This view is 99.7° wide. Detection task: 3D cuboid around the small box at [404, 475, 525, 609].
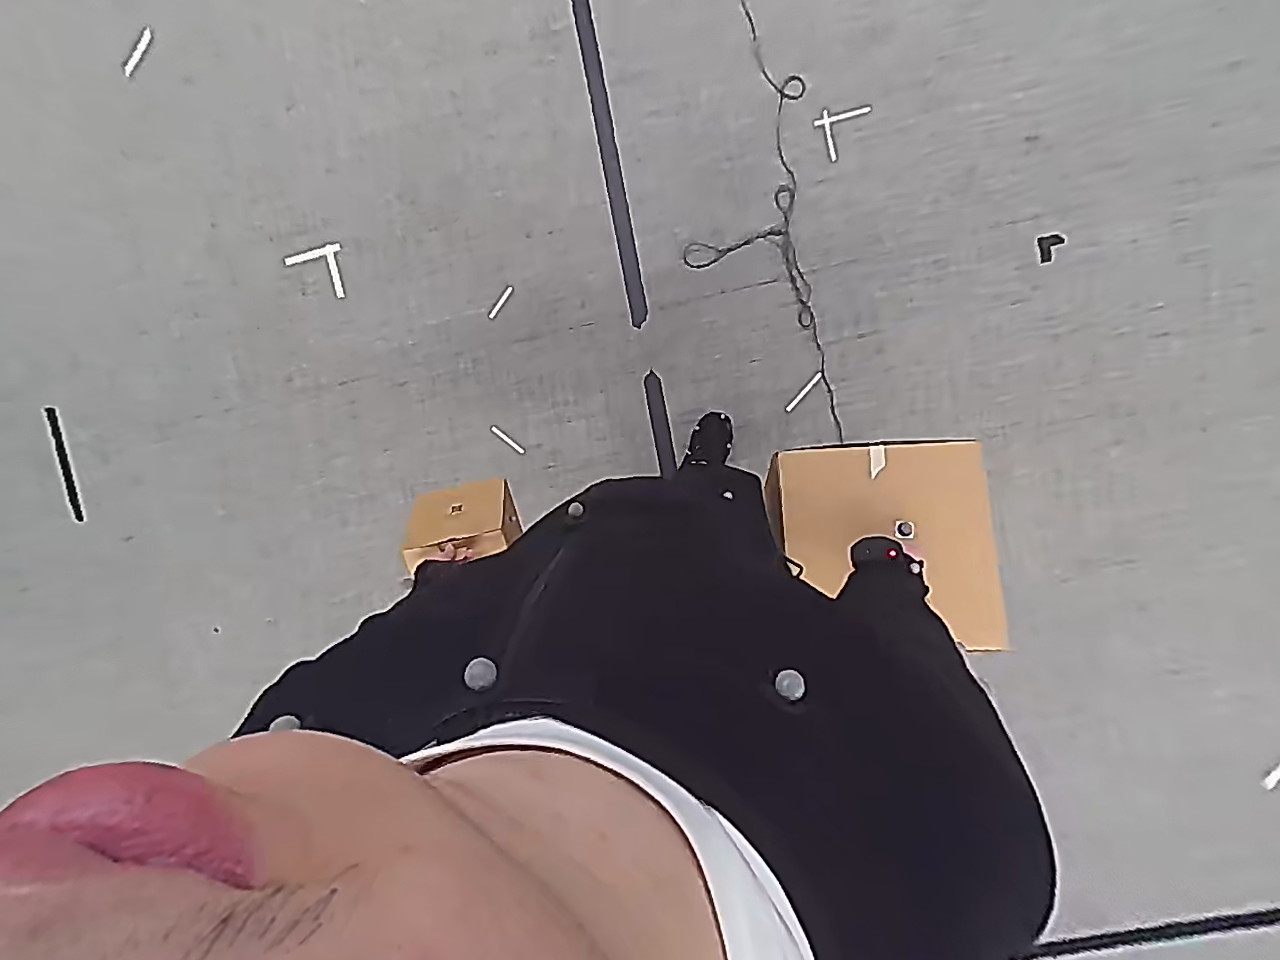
[{"bbox_3d":[-0.311,0.117,0.997,0.168,0.179,0.176,-11,123,-6],"label":"small box"}]
